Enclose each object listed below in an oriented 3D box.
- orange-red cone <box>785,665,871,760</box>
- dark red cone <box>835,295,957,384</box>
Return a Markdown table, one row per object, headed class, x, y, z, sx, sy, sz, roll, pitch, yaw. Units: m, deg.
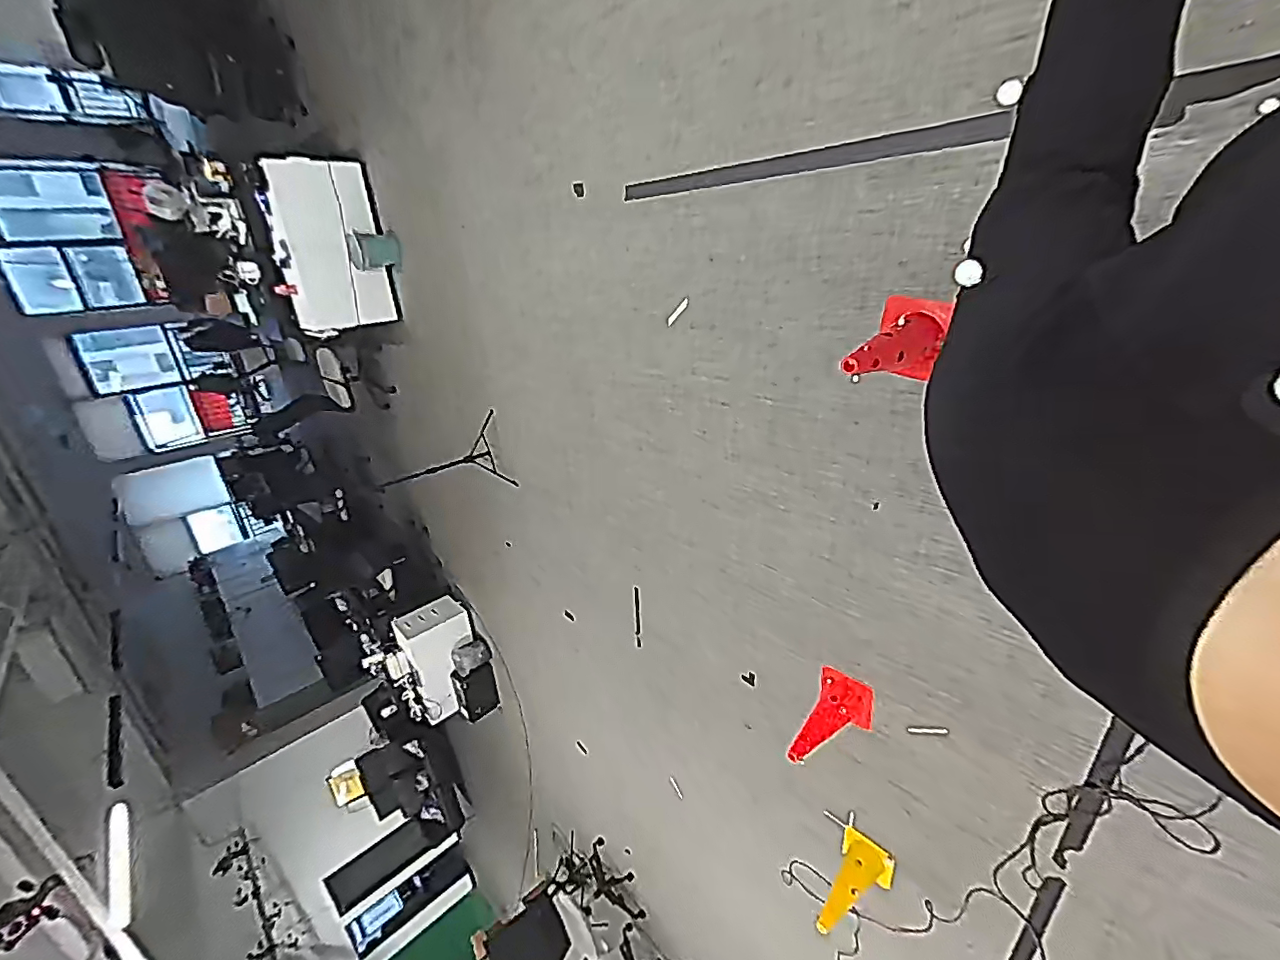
| class | x | y | z | sx | sy | sz | roll | pitch | yaw |
| --- | --- | --- | --- | --- | --- | --- | --- | --- | --- |
| orange-red cone | 0.623 | 0.848 | 1.878 | 0.198 | 0.360 | 0.199 | 19 | 124 | 46 |
| dark red cone | 0.574 | -0.310 | 1.288 | 0.201 | 0.394 | 0.202 | 26 | 128 | 39 |
